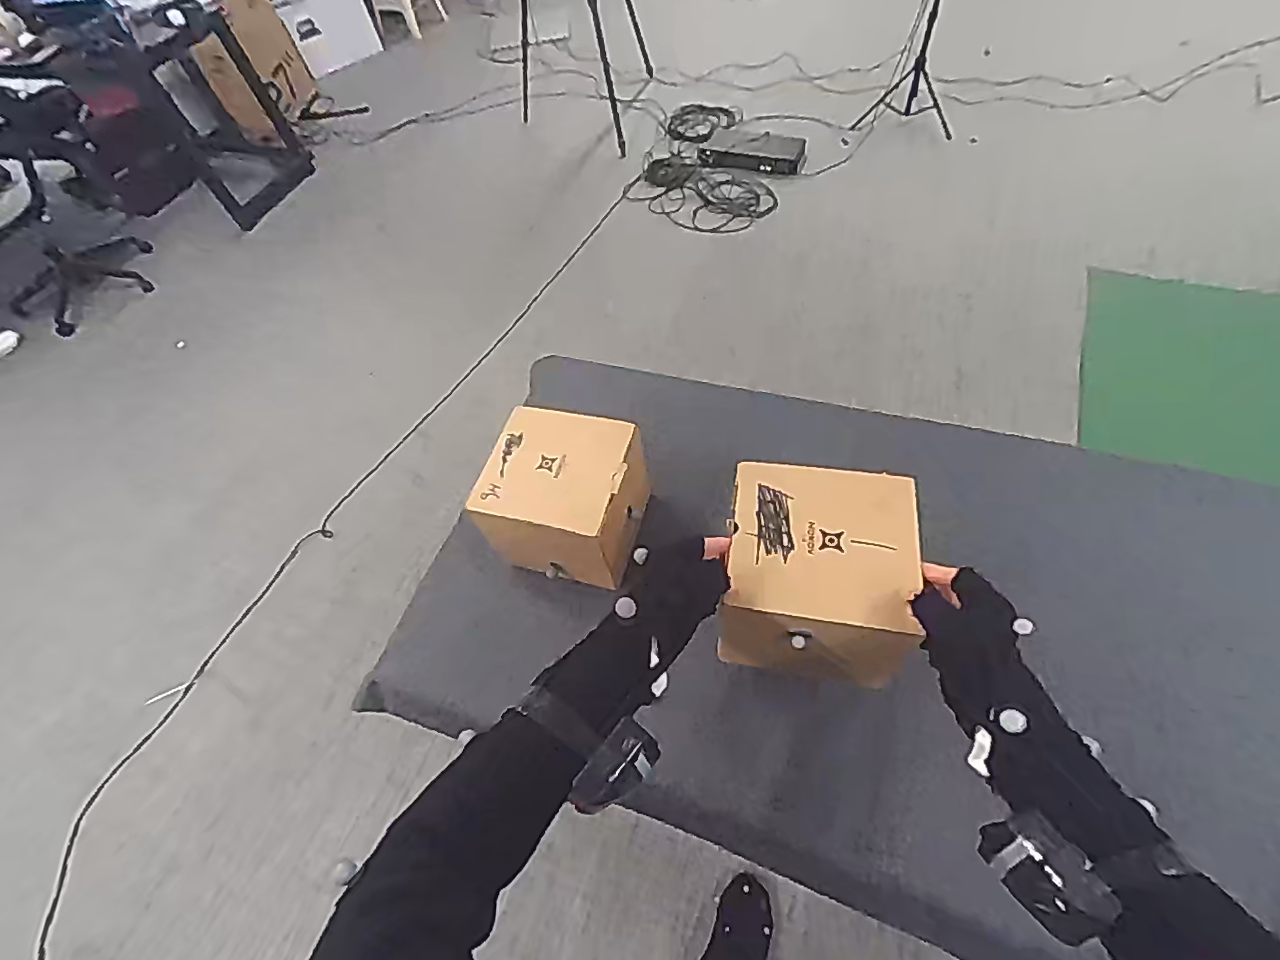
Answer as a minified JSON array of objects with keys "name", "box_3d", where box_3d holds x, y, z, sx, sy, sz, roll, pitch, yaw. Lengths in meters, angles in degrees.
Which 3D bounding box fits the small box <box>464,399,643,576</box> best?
[{"name":"small box","box_3d":[-0.101,0.017,0.741,0.179,0.176,0.168,12,61,13]}]
